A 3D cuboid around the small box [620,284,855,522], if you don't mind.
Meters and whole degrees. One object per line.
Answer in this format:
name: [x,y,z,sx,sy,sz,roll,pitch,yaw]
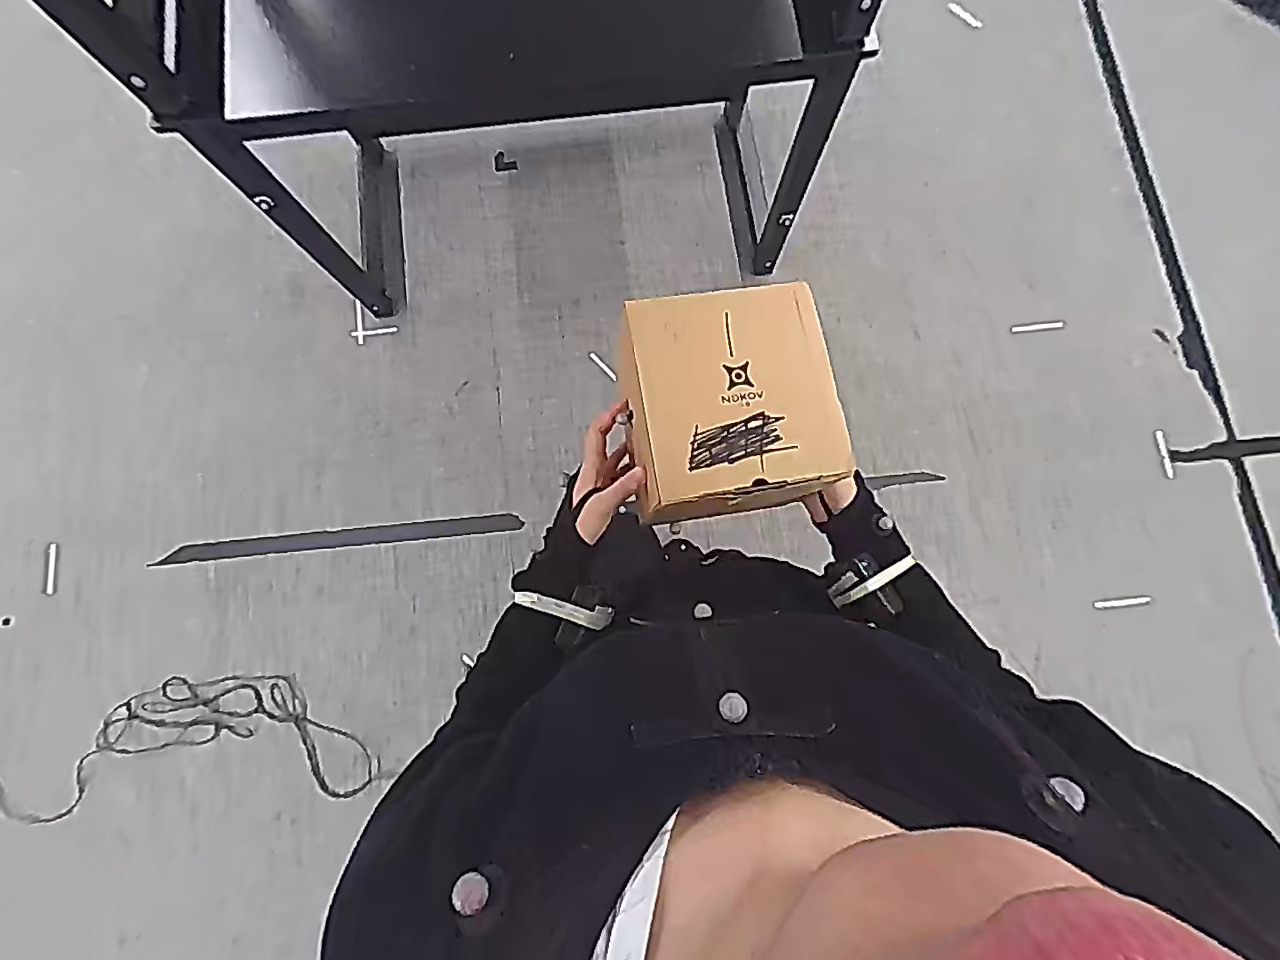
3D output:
small box: [0.076,-0.059,0.522,0.168,0.176,0.179,-9,78,-7]
